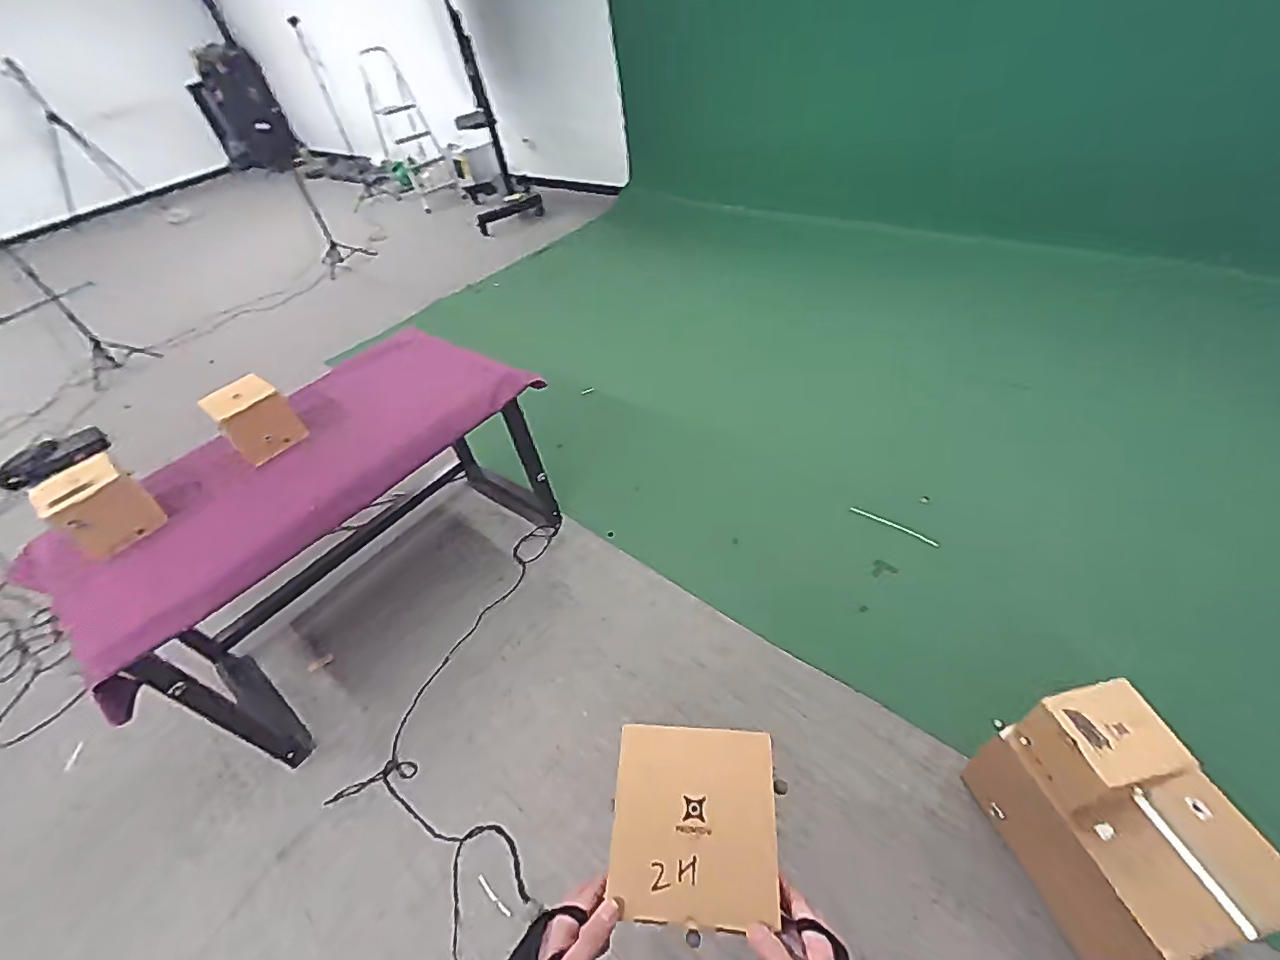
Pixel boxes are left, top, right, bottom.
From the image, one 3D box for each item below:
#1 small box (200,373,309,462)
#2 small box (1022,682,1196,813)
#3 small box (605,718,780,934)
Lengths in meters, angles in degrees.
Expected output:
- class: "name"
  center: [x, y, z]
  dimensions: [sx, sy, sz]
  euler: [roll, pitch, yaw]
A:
- class: "small box"
  center: [-1.103, -0.178, 1.557]
  dimensions: [0.179, 0.176, 0.168]
  euler: [27, 55, 31]
- class: "small box"
  center: [0.892, 0.526, 1.057]
  dimensions: [0.179, 0.176, 0.168]
  euler: [-13, 45, -2]
- class: "small box"
  center: [0.062, 0.389, 0.610]
  dimensions: [0.168, 0.176, 0.179]
  euler: [1, 52, 8]
